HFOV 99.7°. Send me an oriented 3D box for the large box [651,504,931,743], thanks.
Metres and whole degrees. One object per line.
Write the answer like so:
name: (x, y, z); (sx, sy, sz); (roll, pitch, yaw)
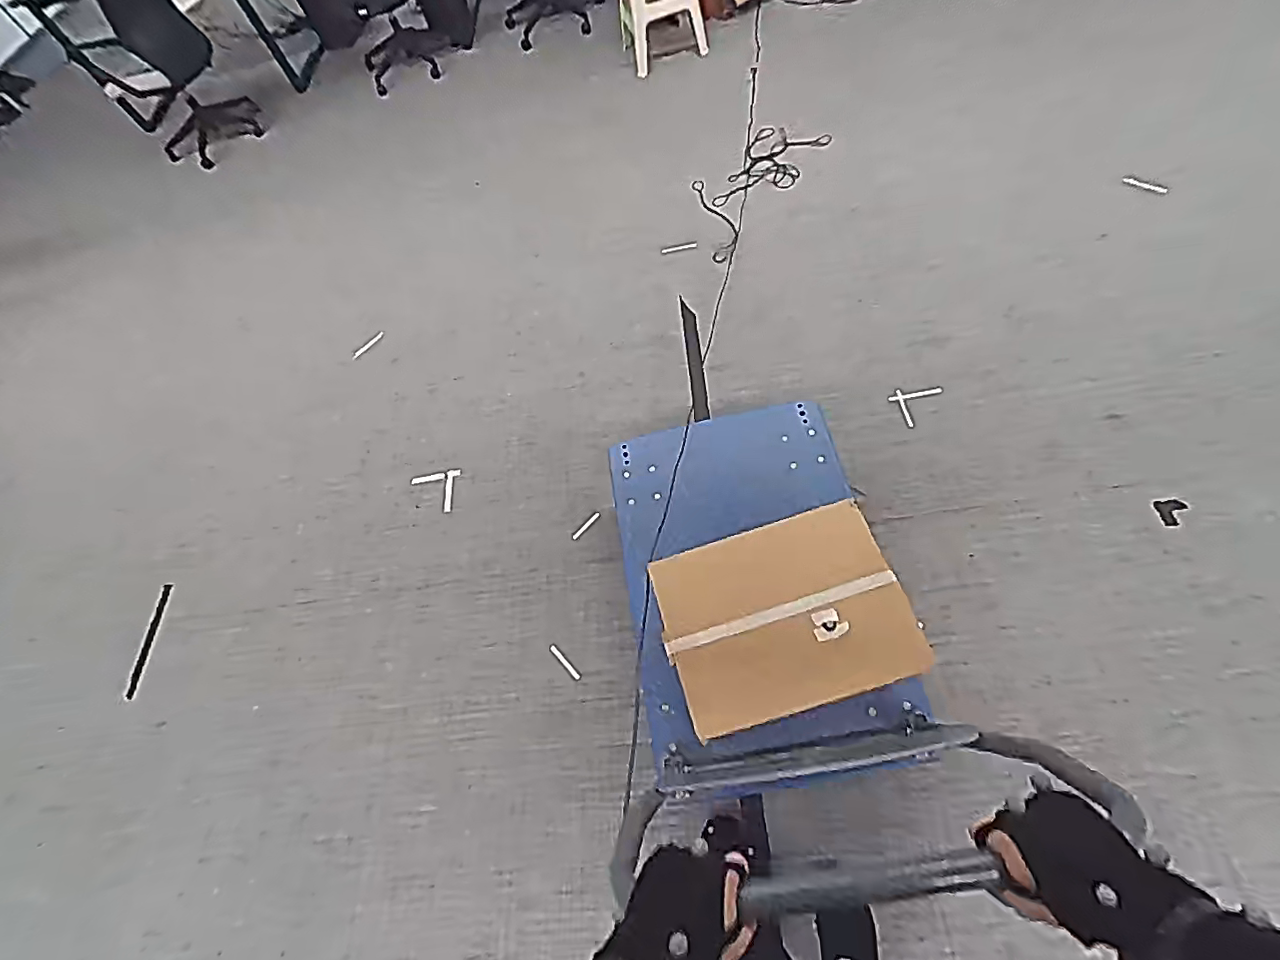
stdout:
large box: (0.272, 0.299, 1.081); (0.408, 0.320, 0.320); (-19, 65, 2)
